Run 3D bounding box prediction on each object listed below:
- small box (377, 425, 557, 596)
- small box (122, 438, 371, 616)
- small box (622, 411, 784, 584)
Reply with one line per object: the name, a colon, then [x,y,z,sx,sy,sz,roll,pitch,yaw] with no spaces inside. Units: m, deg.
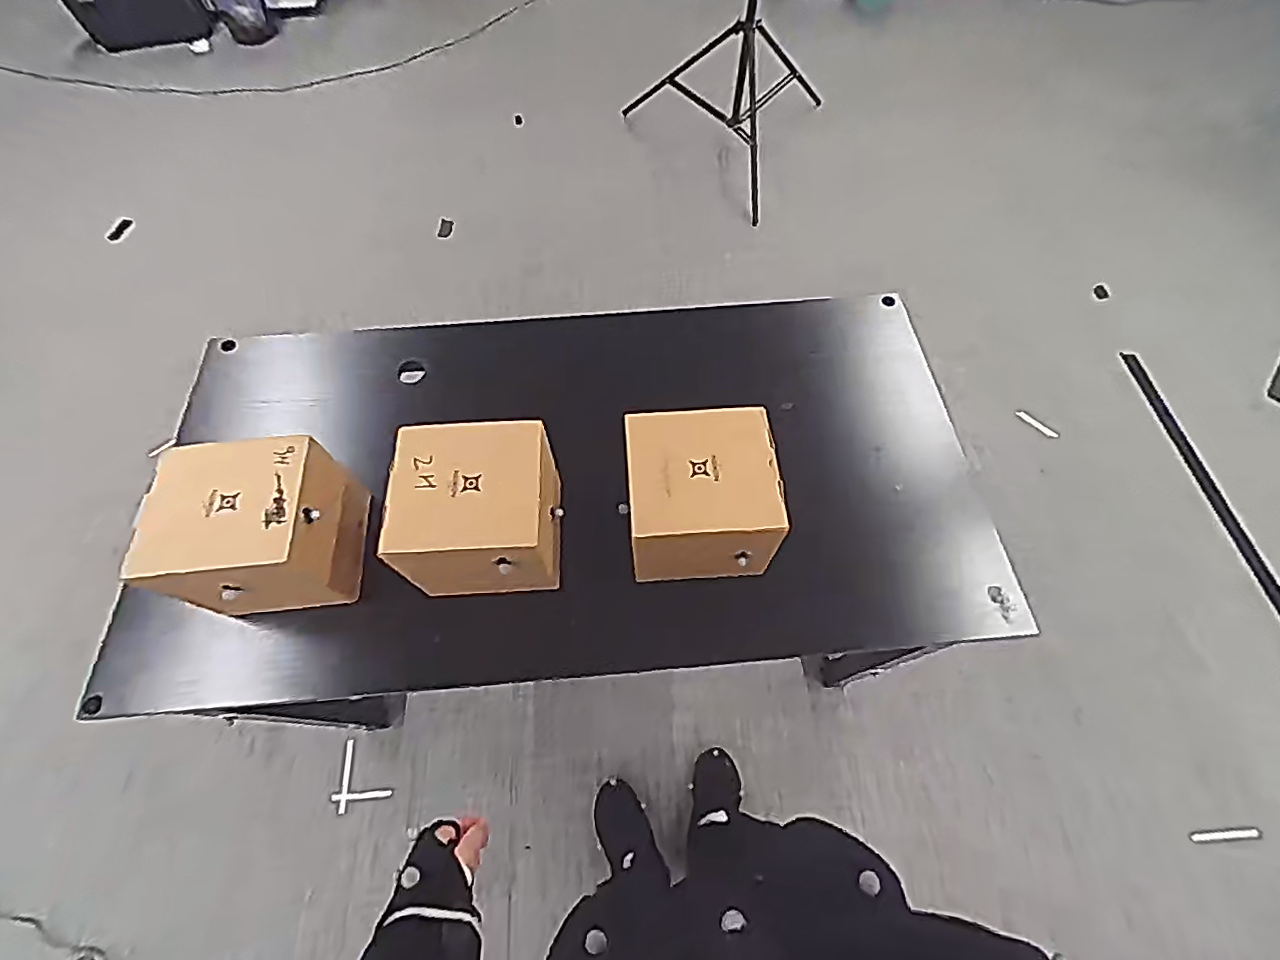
small box: [-0.203,0.045,0.694,0.179,0.176,0.168,-3,62,-1]
small box: [-0.476,0.067,0.687,0.179,0.176,0.168,-6,63,-2]
small box: [0.070,0.029,0.702,0.179,0.176,0.168,-5,62,0]
